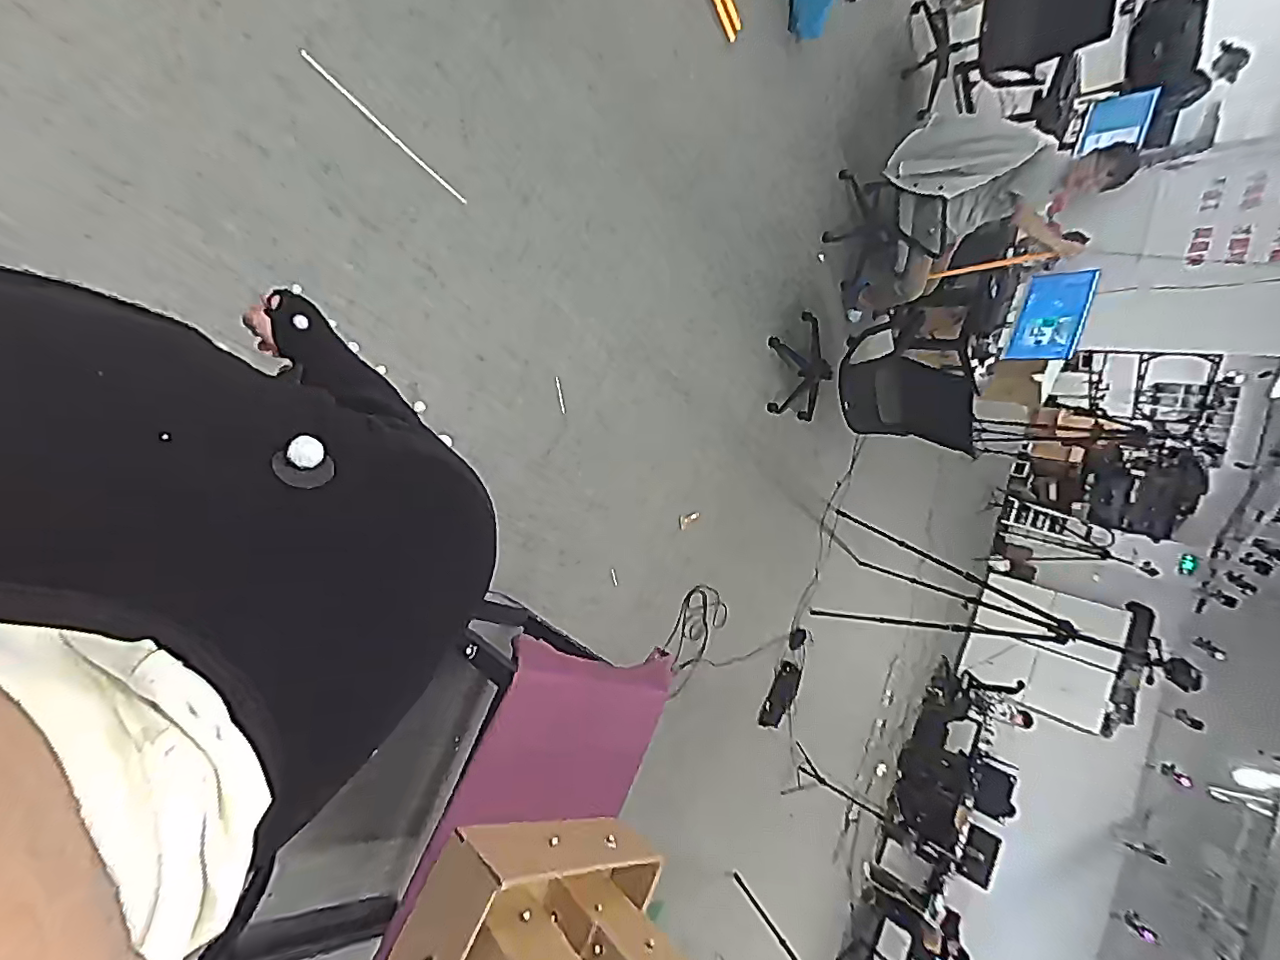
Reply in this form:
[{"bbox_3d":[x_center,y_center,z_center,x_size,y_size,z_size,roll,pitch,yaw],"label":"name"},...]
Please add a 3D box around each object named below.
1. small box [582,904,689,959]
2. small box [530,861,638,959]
[{"bbox_3d":[-0.023,1.135,1.252,0.179,0.176,0.168,32,80,-46],"label":"small box"},{"bbox_3d":[-0.141,1.098,1.360,0.179,0.176,0.168,32,79,-45],"label":"small box"}]
